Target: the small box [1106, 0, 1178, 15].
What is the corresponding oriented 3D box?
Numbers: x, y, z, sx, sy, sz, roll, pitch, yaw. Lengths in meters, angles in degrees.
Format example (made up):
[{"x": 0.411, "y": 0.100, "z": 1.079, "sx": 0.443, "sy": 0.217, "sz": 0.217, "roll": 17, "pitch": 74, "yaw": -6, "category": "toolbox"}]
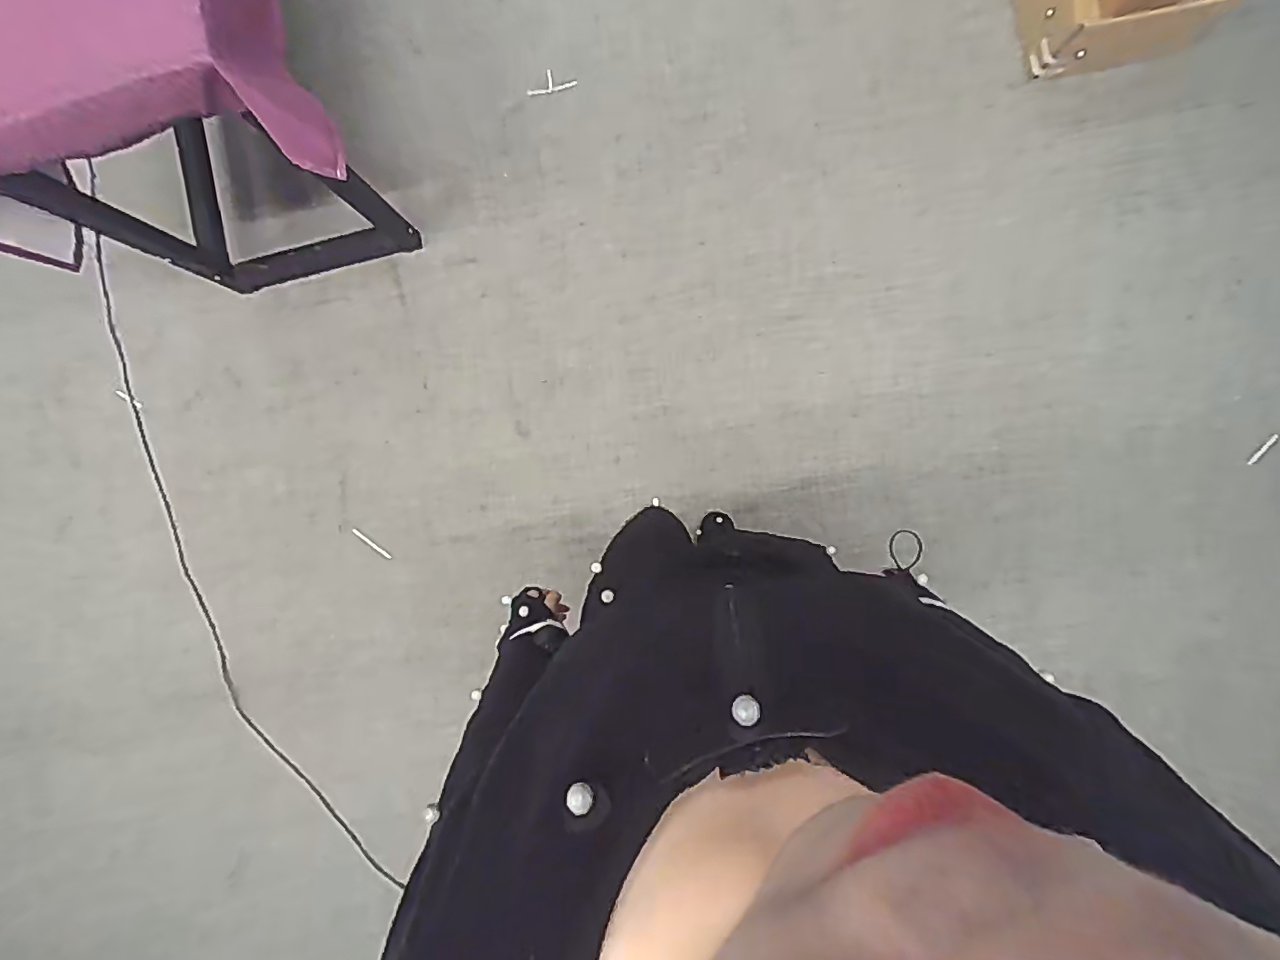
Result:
[{"x": 1.245, "y": -1.258, "z": 1.281, "sx": 0.179, "sy": 0.176, "sz": 0.168, "roll": -8, "pitch": 89, "yaw": 6, "category": "small box"}]
